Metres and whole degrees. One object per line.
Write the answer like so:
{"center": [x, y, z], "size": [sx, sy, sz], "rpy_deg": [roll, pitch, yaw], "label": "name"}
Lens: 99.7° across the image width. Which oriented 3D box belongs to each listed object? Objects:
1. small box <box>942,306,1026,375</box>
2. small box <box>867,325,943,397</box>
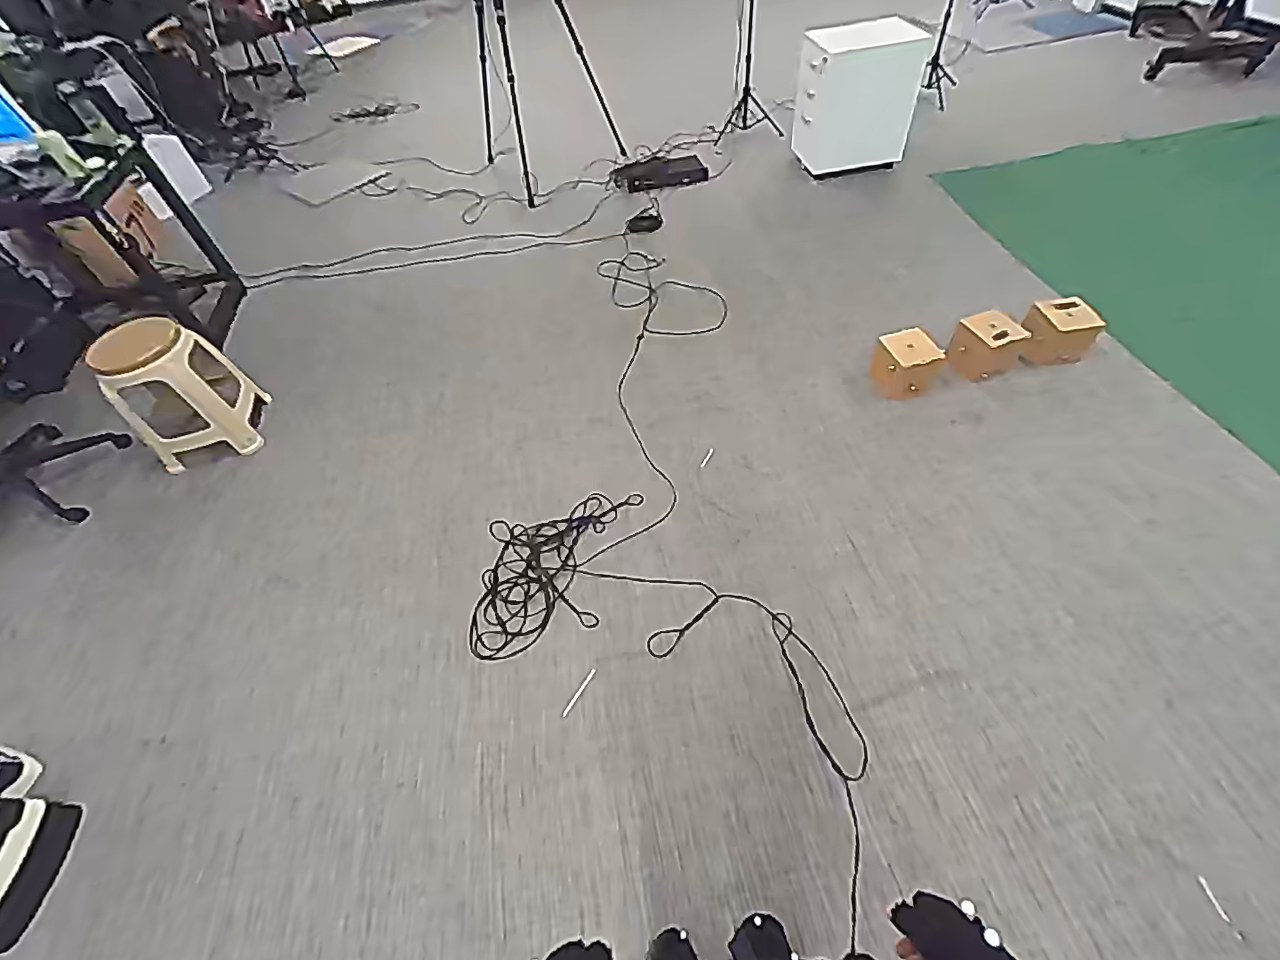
{"center": [1.270, -0.509, 2.007], "size": [0.168, 0.176, 0.179], "rpy_deg": [-17, 52, -8], "label": "small box"}
{"center": [0.961, -0.435, 1.984], "size": [0.168, 0.176, 0.179], "rpy_deg": [-15, 53, -5], "label": "small box"}
